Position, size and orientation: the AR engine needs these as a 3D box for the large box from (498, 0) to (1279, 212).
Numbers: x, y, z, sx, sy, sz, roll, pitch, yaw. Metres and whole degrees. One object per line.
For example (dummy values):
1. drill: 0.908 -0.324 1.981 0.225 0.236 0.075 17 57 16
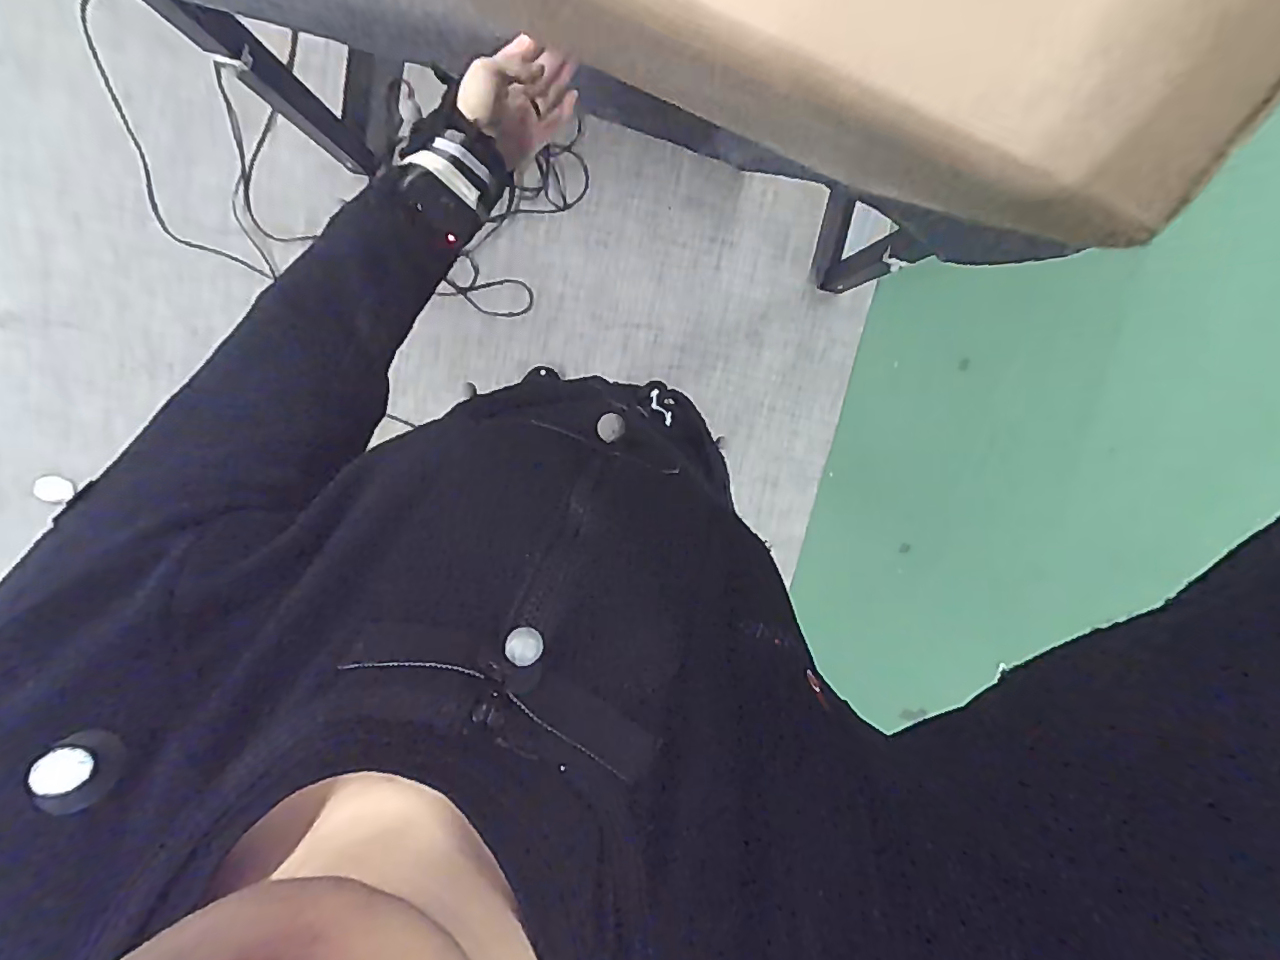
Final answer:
1. large box: 0.076 -0.353 0.230 0.320 0.408 0.320 20 123 -6
